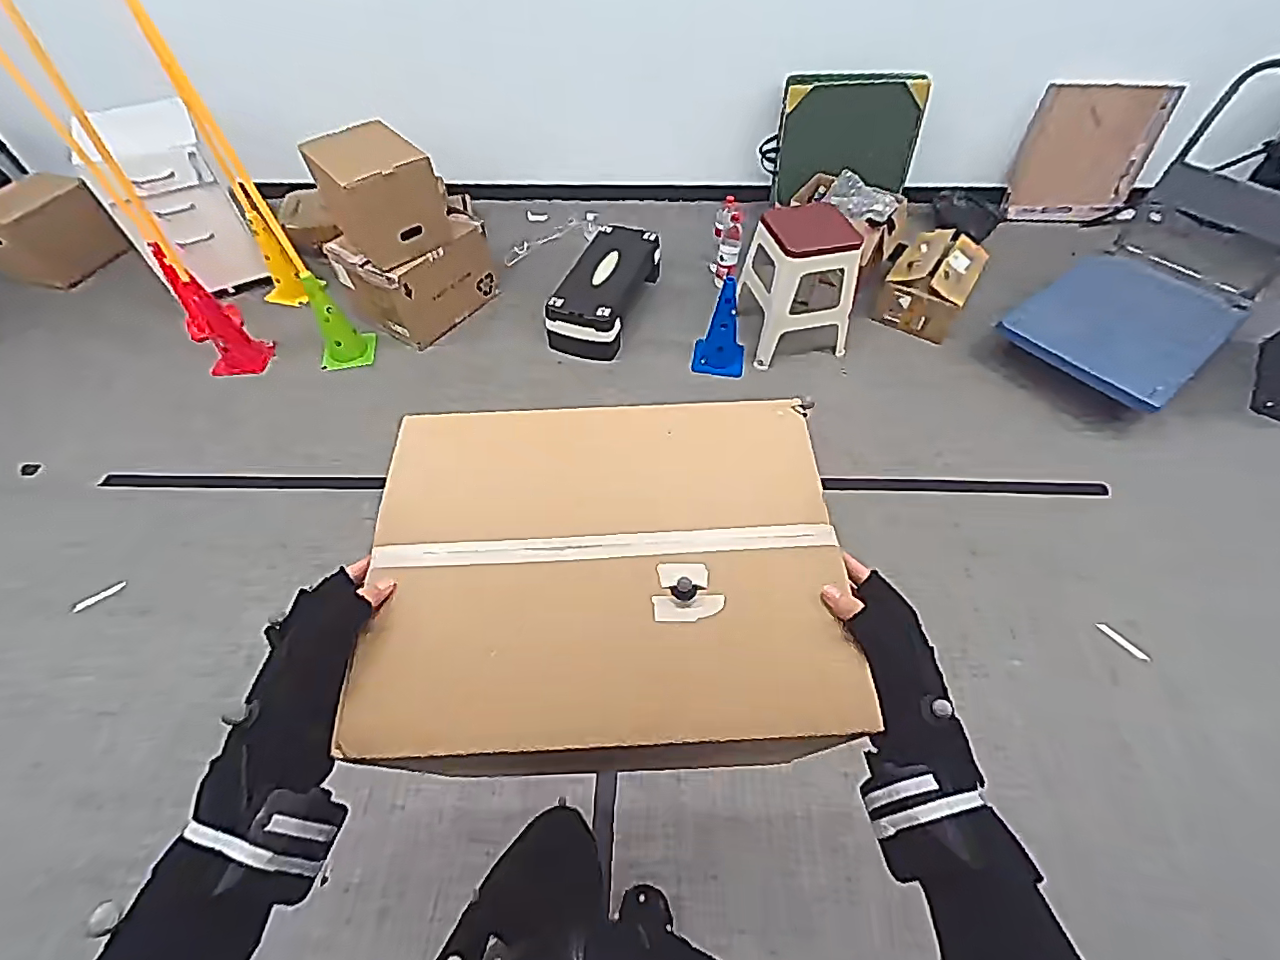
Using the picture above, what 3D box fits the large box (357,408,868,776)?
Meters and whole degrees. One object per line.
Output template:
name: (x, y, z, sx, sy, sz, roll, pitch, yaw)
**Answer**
large box: (-0.027, 0.141, 0.617, 0.408, 0.320, 0.320, -2, 59, -1)
